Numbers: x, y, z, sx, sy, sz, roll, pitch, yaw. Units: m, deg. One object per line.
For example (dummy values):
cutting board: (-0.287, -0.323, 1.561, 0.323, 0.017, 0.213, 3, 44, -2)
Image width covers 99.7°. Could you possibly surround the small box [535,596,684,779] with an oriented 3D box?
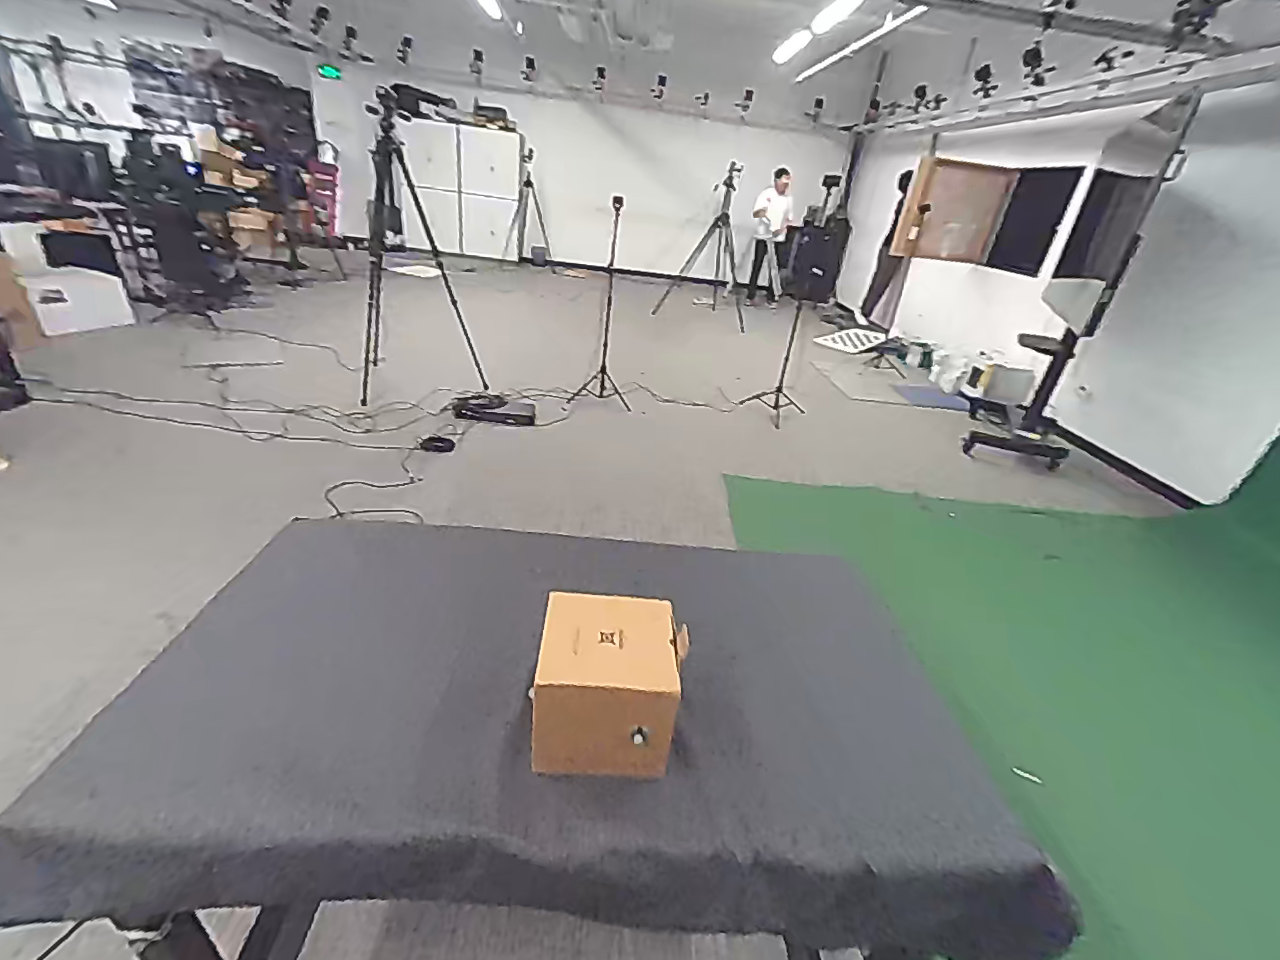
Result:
small box: (-0.044, 0.281, 0.738, 0.179, 0.176, 0.168, 4, 27, -4)
